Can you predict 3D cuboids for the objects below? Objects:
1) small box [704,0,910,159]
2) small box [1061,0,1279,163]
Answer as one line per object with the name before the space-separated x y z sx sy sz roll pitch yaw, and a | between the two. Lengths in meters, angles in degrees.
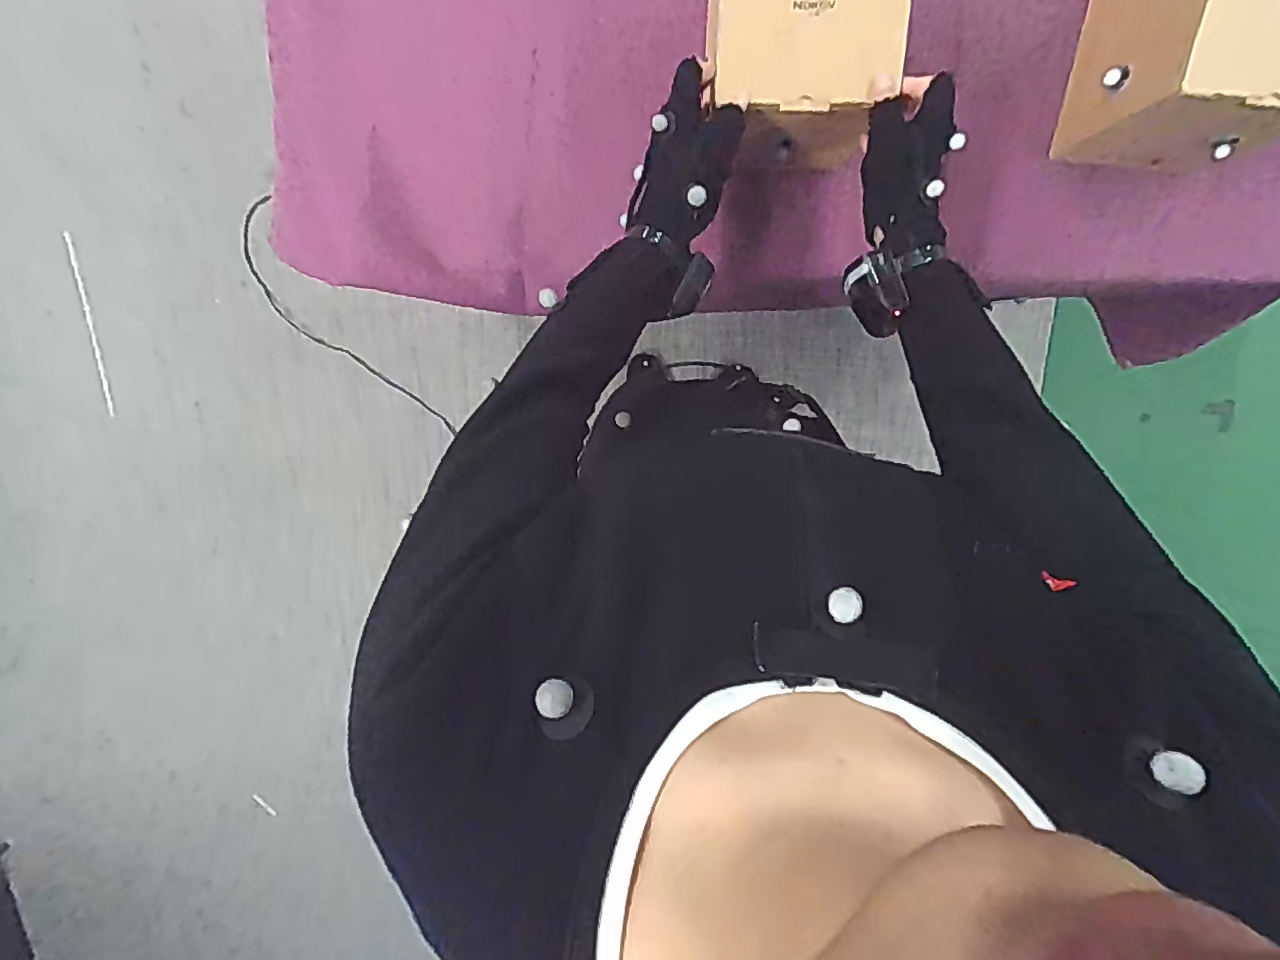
small box | 0.153 -0.438 0.538 0.168 0.176 0.179 2 104 2
small box | 0.558 -0.429 0.519 0.168 0.176 0.179 7 104 1
